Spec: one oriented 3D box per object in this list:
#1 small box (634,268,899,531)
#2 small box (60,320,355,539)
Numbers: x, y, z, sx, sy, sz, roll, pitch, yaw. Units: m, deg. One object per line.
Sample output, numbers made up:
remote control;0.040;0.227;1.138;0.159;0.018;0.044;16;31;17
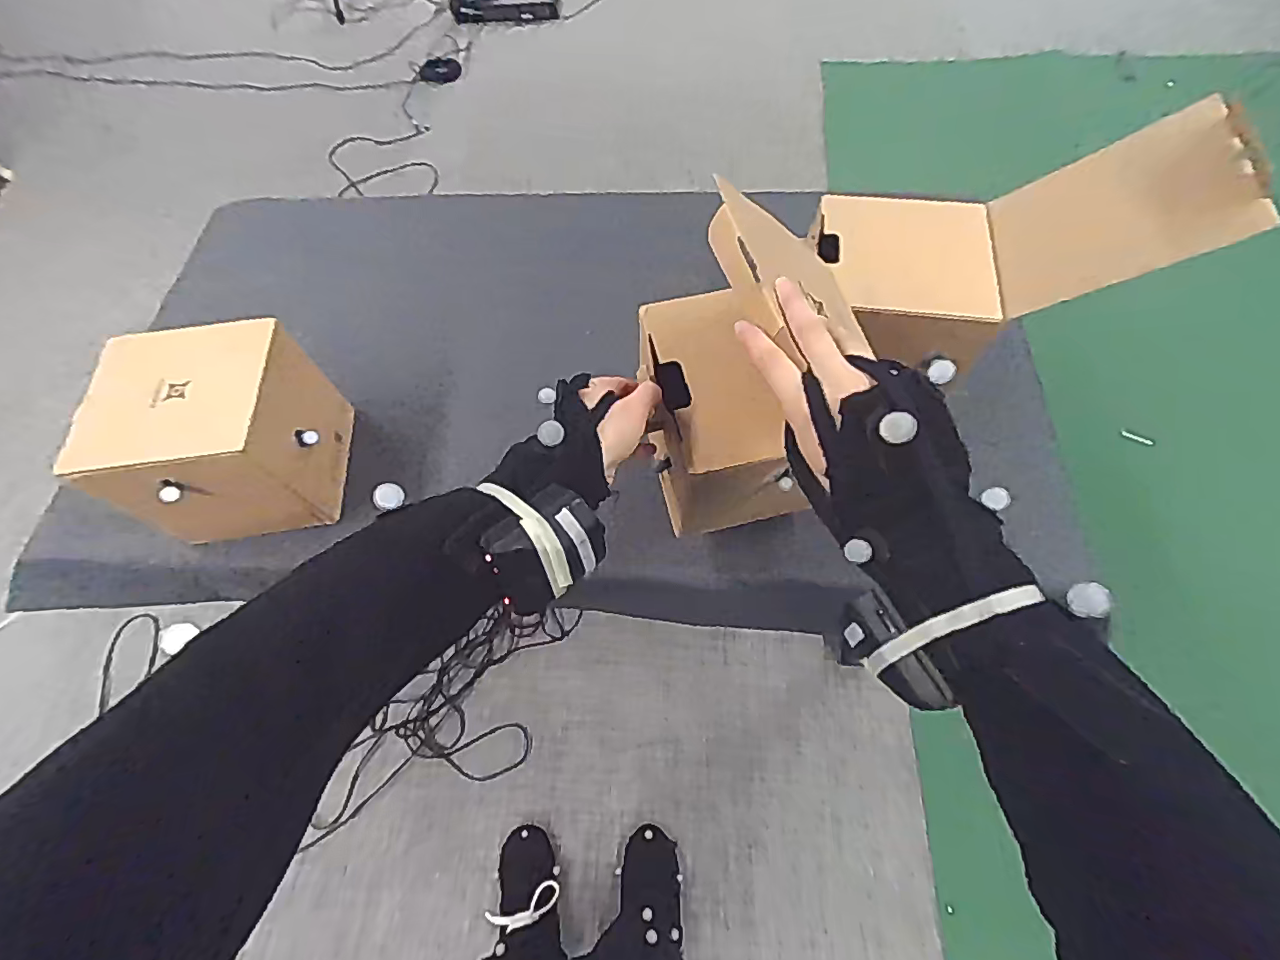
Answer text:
small box;0.097;-0.064;0.508;0.179;0.176;0.168;-13;69;-6
small box;-0.445;-0.047;0.596;0.179;0.176;0.168;-8;62;0
